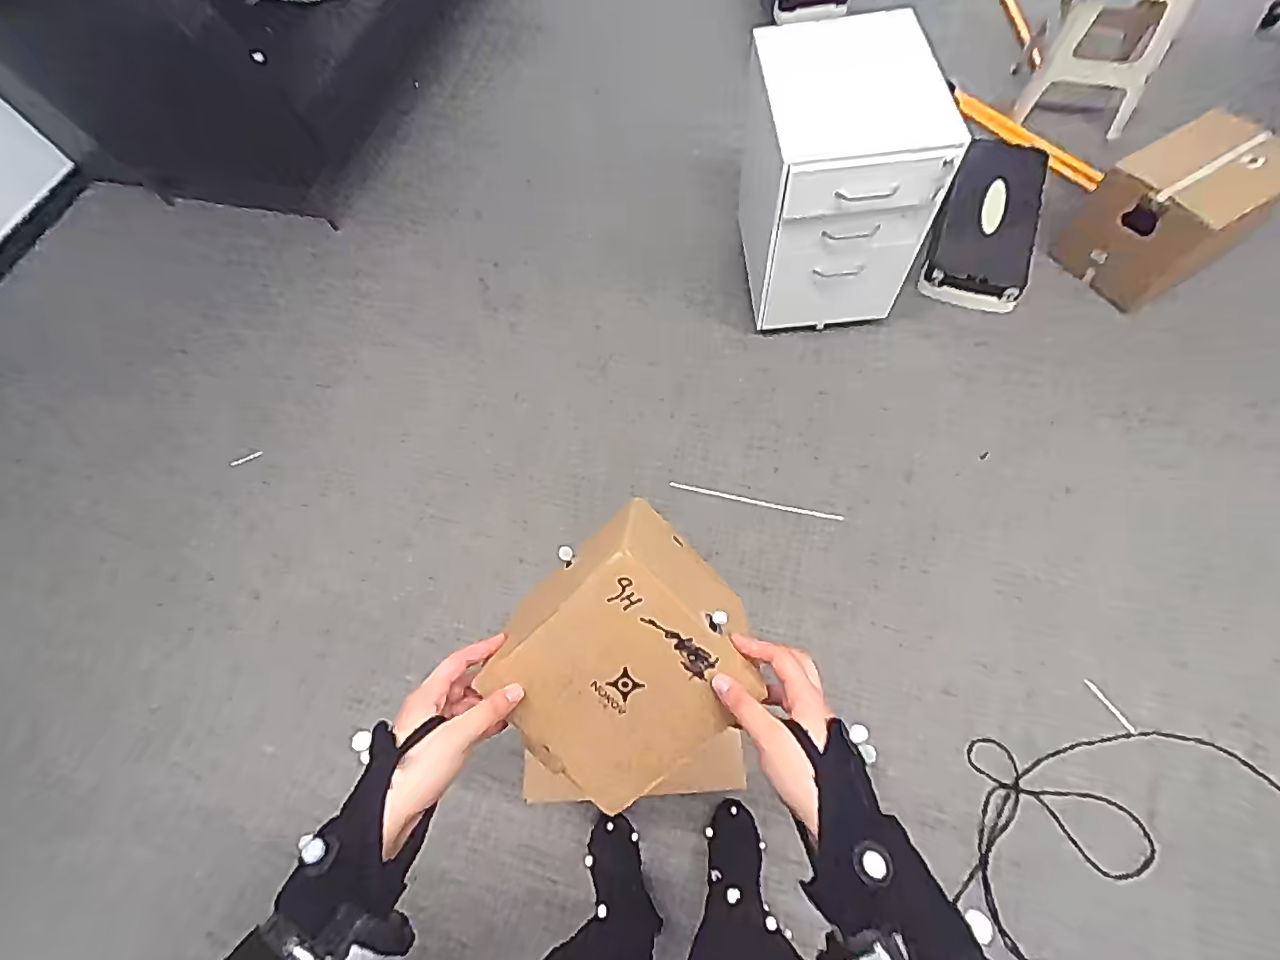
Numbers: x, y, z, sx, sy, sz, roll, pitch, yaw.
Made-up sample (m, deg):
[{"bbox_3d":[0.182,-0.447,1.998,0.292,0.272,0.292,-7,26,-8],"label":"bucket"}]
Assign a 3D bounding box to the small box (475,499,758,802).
[{"bbox_3d":[-0.014,0.144,0.513,0.179,0.176,0.168,-42,96,11],"label":"small box"}]
